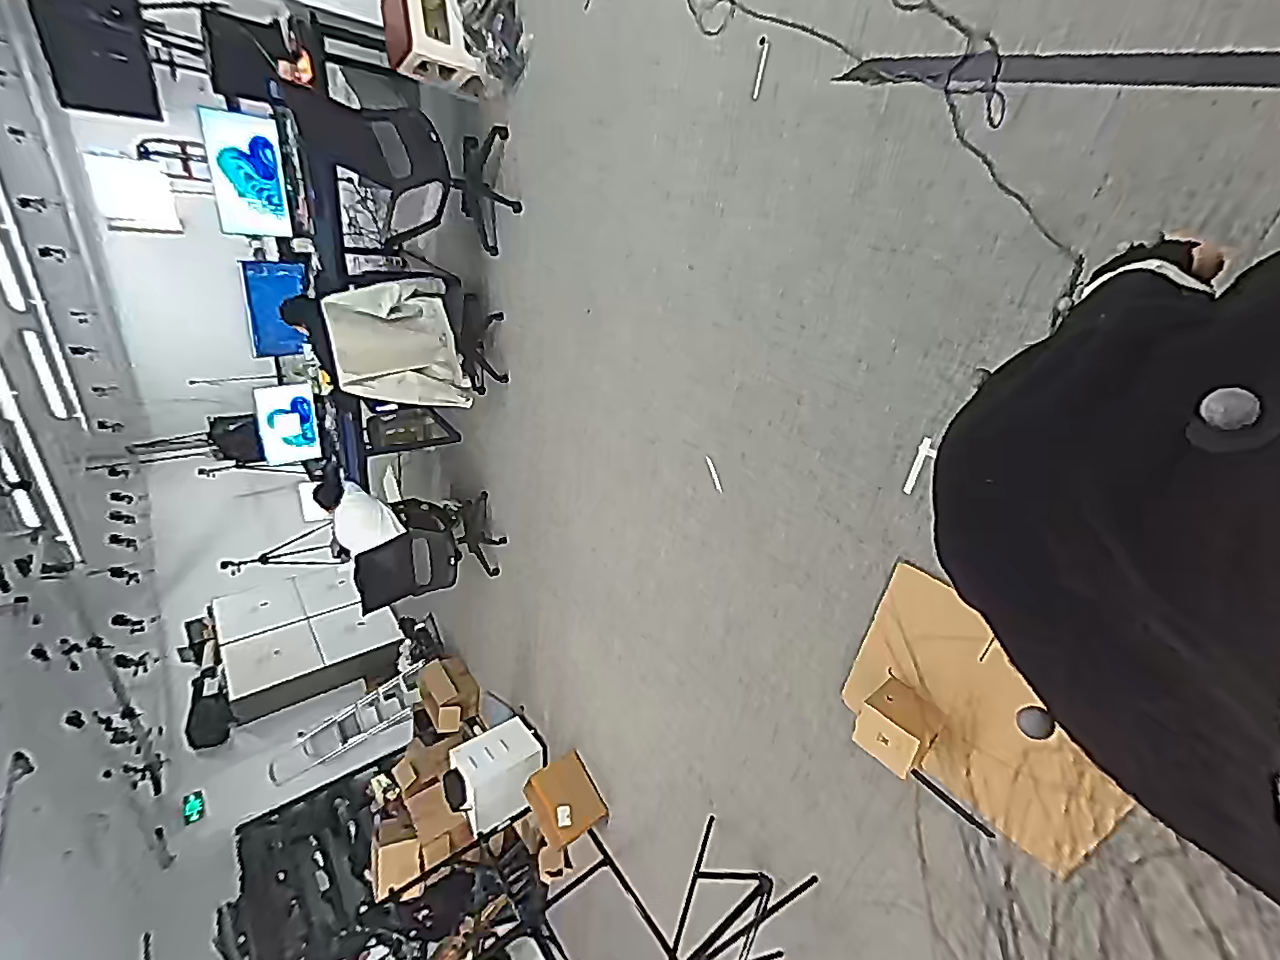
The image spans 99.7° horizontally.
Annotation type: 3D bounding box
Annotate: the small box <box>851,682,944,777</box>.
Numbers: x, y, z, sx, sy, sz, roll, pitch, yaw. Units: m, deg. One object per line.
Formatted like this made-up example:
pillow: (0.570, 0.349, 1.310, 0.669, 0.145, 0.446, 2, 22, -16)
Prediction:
small box: (0.780, 0.743, 1.639, 0.179, 0.176, 0.168, 30, 125, 42)
